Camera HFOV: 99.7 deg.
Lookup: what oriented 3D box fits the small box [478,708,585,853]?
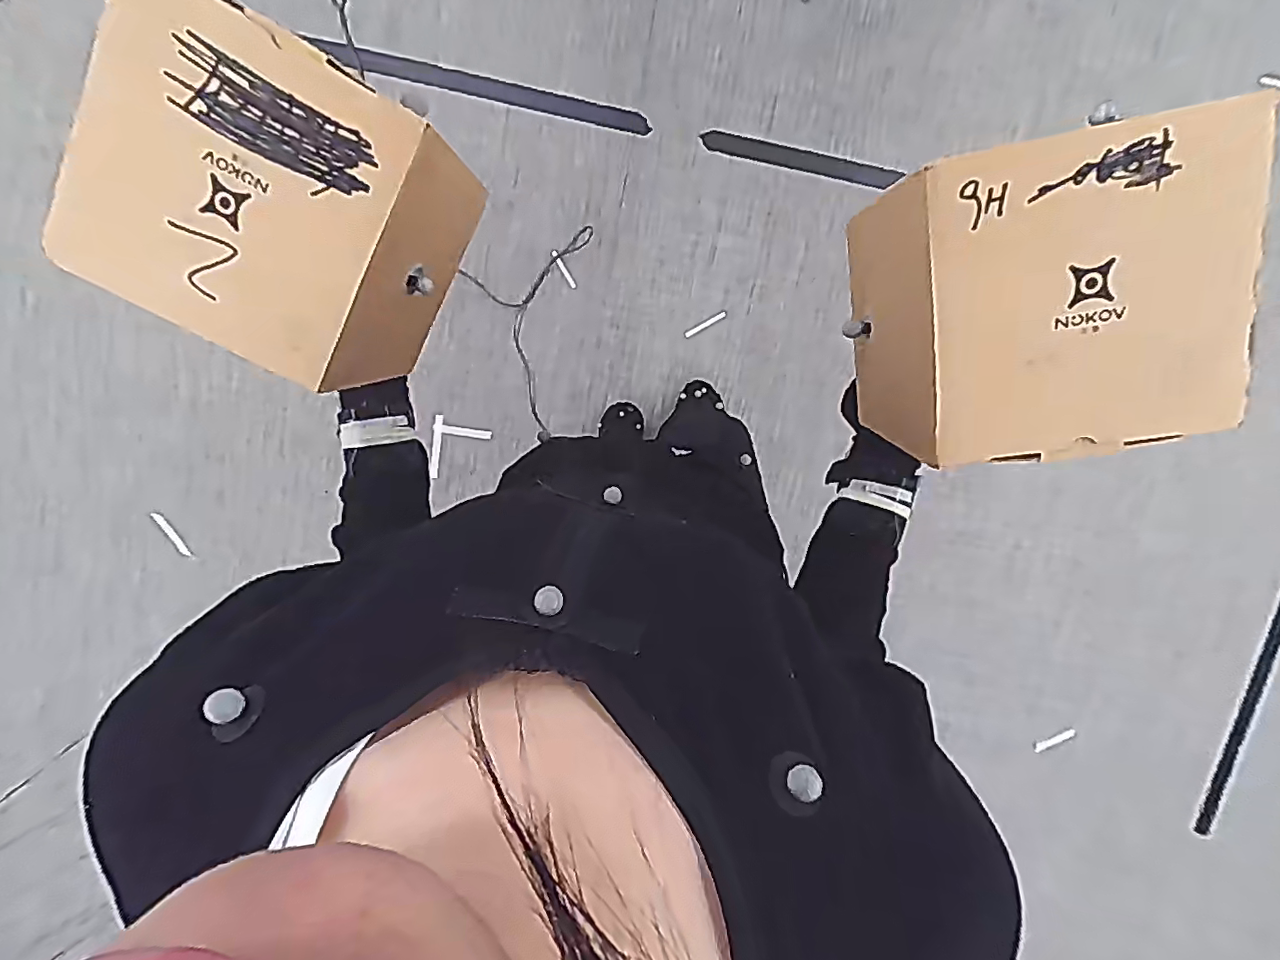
[{"bbox_3d":[-0.195,0.551,1.011,0.168,0.176,0.179,4,98,0],"label":"small box"}]

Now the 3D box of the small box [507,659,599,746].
[{"bbox_3d":[-0.197,0.513,1.170,0.179,0.176,0.168,19,97,-2],"label":"small box"}]

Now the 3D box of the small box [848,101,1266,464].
[{"bbox_3d":[0.256,-0.124,0.383,0.168,0.176,0.179,-8,106,7],"label":"small box"}]
